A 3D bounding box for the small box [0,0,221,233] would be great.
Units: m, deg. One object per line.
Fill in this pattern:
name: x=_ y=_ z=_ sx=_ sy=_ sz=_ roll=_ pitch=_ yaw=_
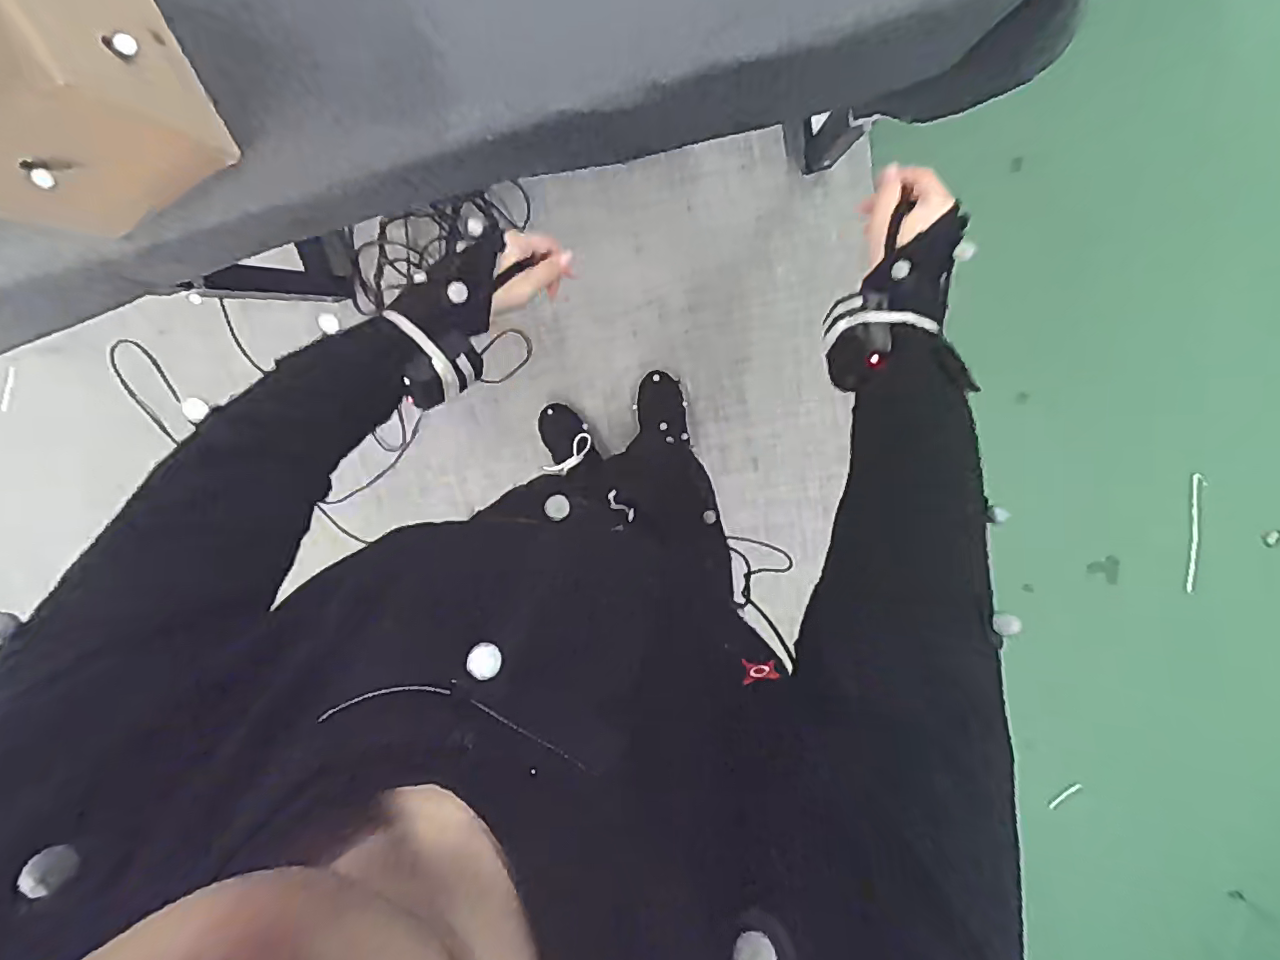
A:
small box: x=-0.513 y=-0.337 z=0.460 sx=0.179 sy=0.176 sz=0.168 roll=-23 pitch=103 yaw=11
